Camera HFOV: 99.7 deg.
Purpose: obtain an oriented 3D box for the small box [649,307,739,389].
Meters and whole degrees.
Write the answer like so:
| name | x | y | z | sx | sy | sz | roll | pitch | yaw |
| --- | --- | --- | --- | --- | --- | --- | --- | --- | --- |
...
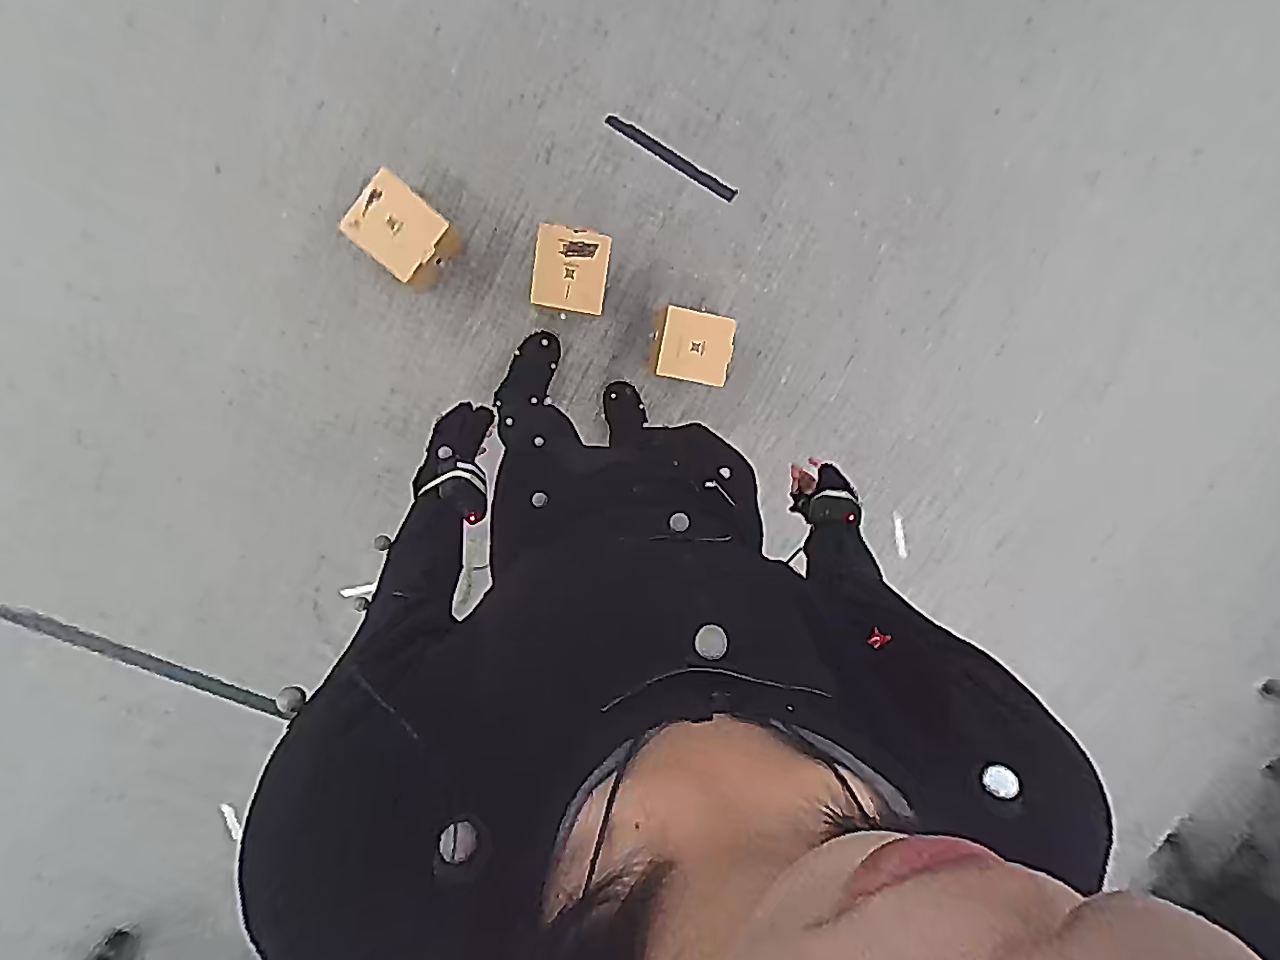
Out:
| name | x | y | z | sx | sy | sz | roll | pitch | yaw |
| --- | --- | --- | --- | --- | --- | --- | --- | --- | --- |
| small box | 0.129 | -0.333 | 1.371 | 0.179 | 0.176 | 0.168 | 9 | 101 | -8 |

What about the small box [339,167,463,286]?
| name | x | y | z | sx | sy | sz | roll | pitch | yaw |
| --- | --- | --- | --- | --- | --- | --- | --- | --- | --- |
| small box | -0.531 | -0.564 | 1.234 | 0.179 | 0.176 | 0.168 | 41 | 96 | -14 |

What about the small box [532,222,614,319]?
| name | x | y | z | sx | sy | sz | roll | pitch | yaw |
| --- | --- | --- | --- | --- | --- | --- | --- | --- | --- |
| small box | -0.162 | -0.492 | 1.294 | 0.168 | 0.176 | 0.179 | 8 | 103 | -9 |
